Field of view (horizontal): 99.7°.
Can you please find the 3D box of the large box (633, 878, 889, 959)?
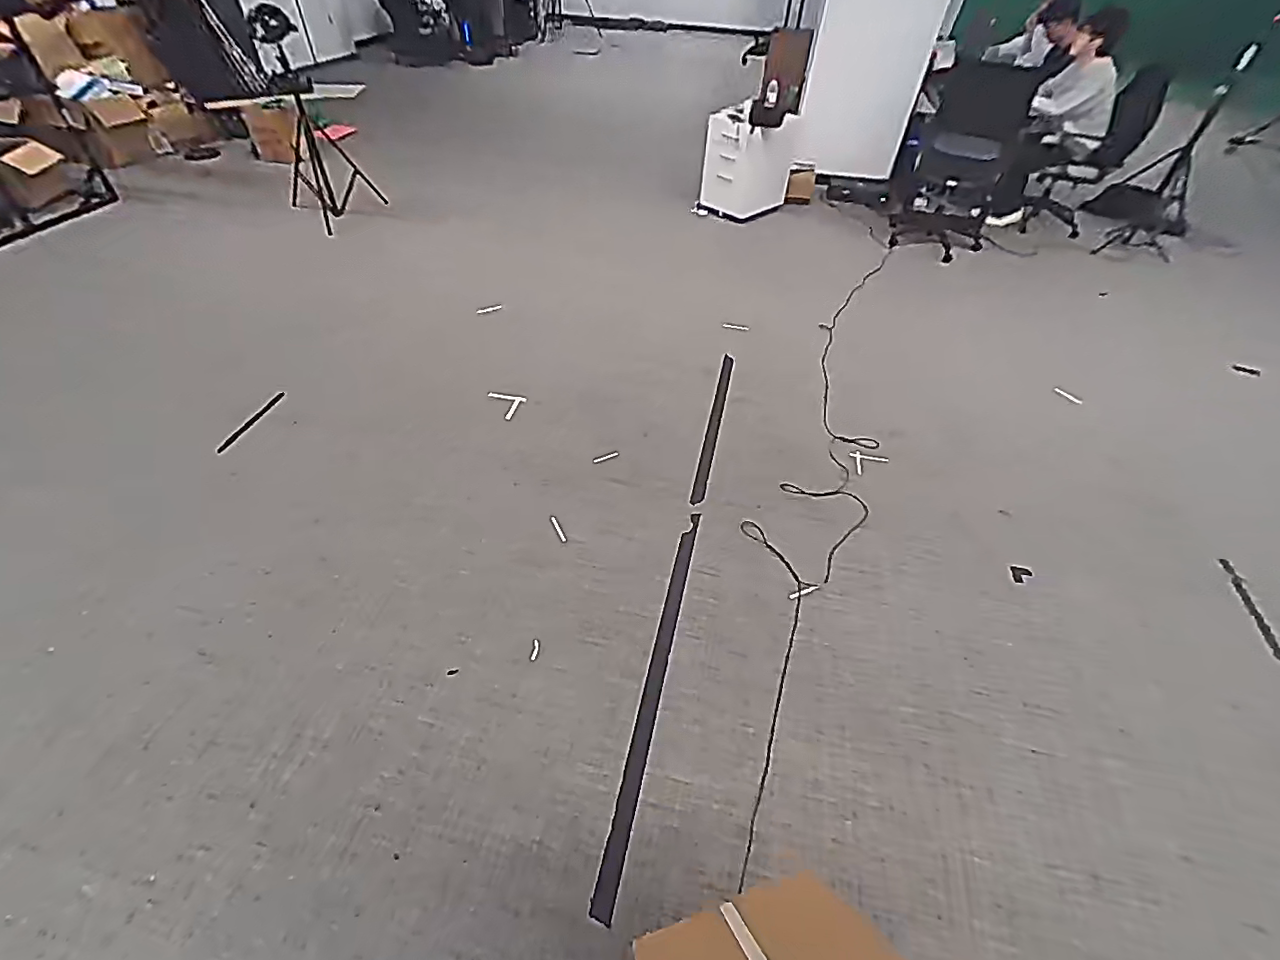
[{"bbox_3d":[0.204,0.788,0.644,0.320,0.408,0.320,-12,82,-13],"label":"large box"}]
